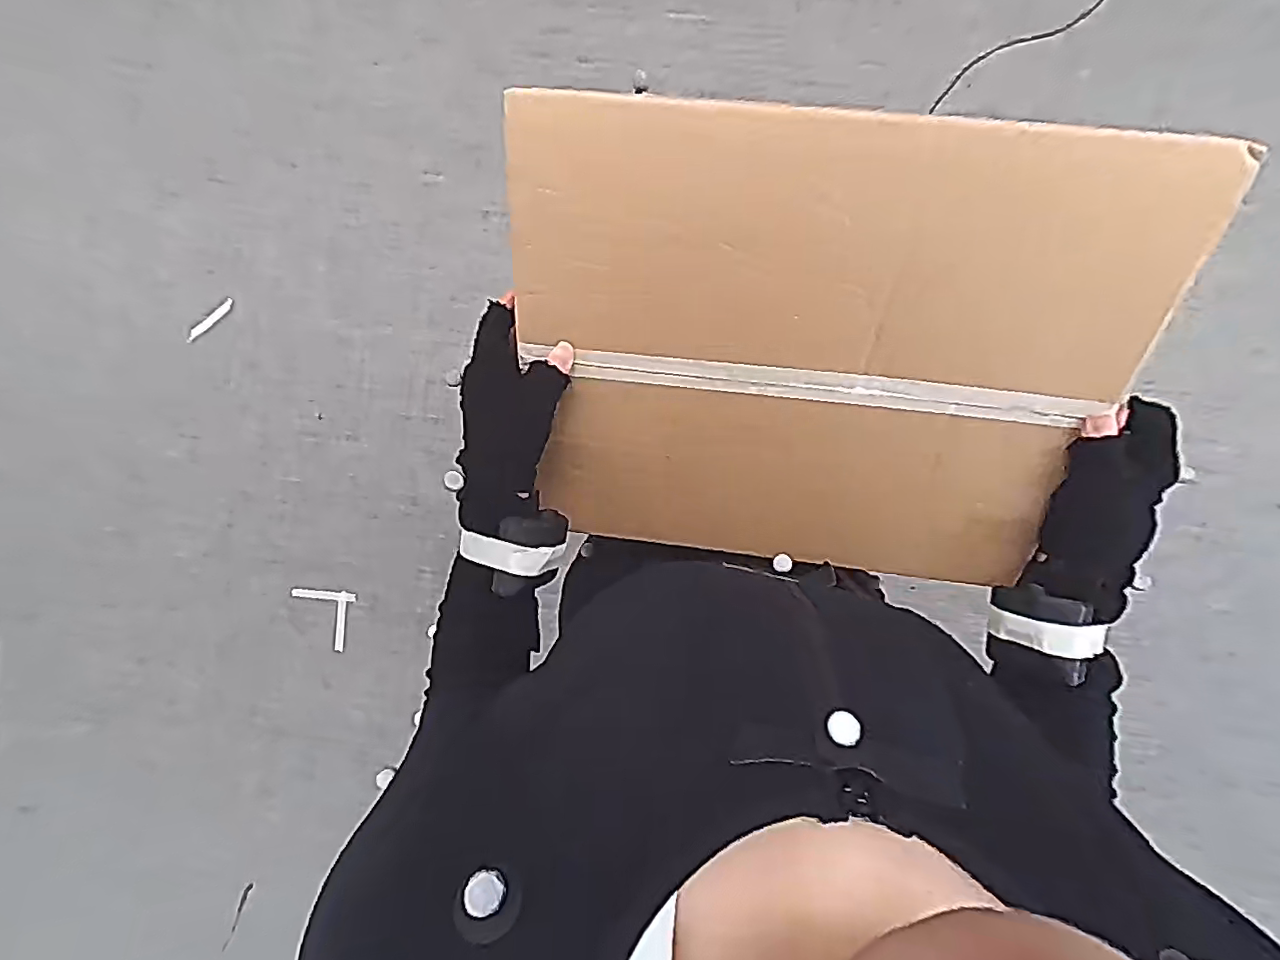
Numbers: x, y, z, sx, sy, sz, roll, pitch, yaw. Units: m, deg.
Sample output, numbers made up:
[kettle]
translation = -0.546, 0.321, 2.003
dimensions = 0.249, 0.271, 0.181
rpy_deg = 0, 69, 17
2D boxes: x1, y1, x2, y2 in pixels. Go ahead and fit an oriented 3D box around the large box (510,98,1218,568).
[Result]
[large box]
translation = 0.127, -0.153, 0.511
dimensions = 0.408, 0.320, 0.320
rpy_deg = 7, 124, 4
